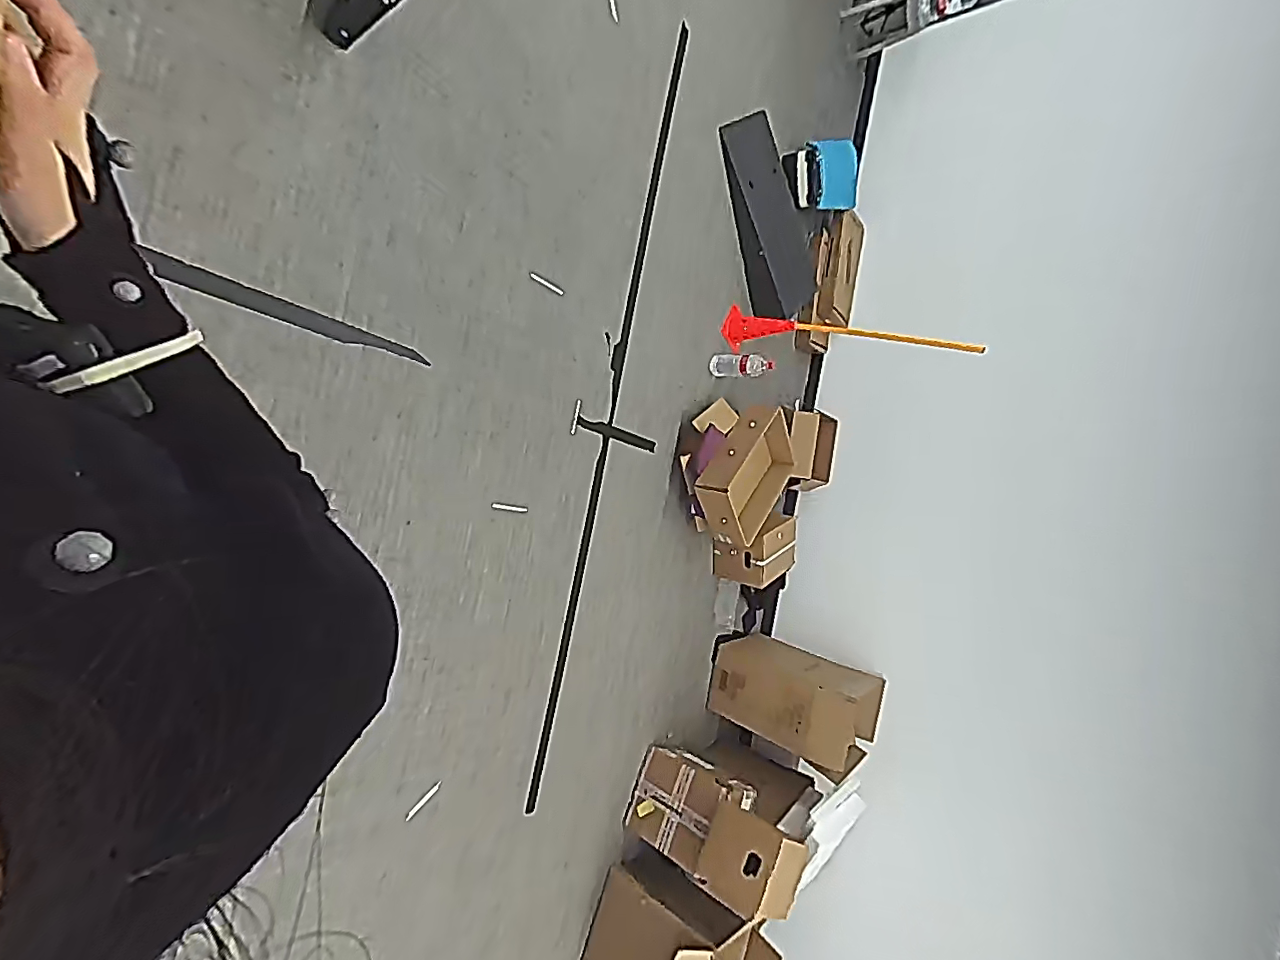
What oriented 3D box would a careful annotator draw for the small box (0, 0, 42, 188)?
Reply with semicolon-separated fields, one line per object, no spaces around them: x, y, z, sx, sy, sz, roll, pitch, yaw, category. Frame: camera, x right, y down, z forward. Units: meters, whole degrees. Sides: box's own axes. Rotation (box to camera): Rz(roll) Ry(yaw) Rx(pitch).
-0.369;-0.234;0.210;0.168;0.176;0.179;5;94;-56;small box
